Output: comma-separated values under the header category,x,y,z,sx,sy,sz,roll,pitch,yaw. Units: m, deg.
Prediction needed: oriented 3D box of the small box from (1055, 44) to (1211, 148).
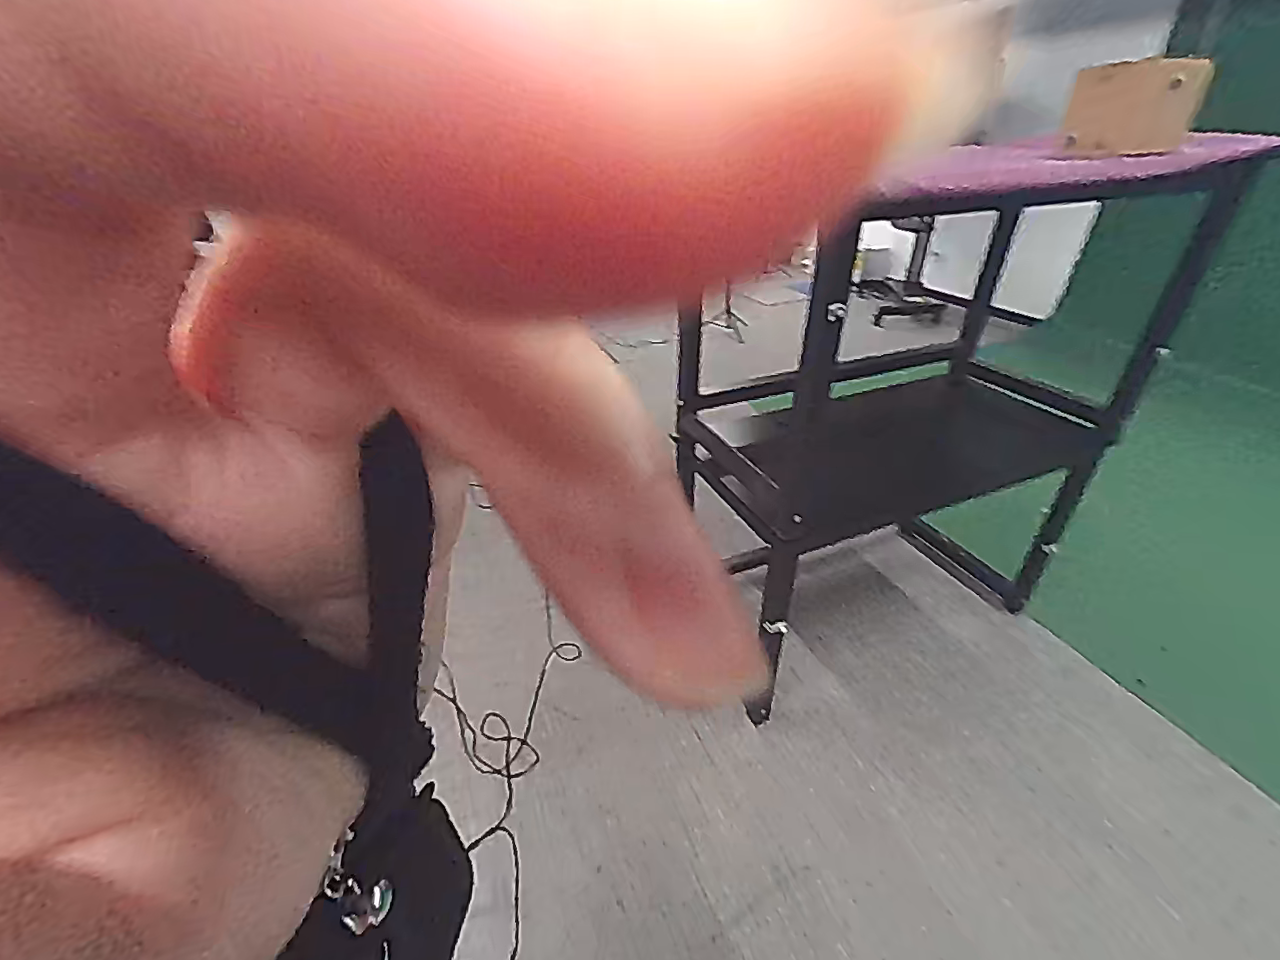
category,x,y,z,sx,sy,sz,roll,pitch,yaw
small box,1.044,-0.817,1.165,0.179,0.176,0.168,-14,34,-17
